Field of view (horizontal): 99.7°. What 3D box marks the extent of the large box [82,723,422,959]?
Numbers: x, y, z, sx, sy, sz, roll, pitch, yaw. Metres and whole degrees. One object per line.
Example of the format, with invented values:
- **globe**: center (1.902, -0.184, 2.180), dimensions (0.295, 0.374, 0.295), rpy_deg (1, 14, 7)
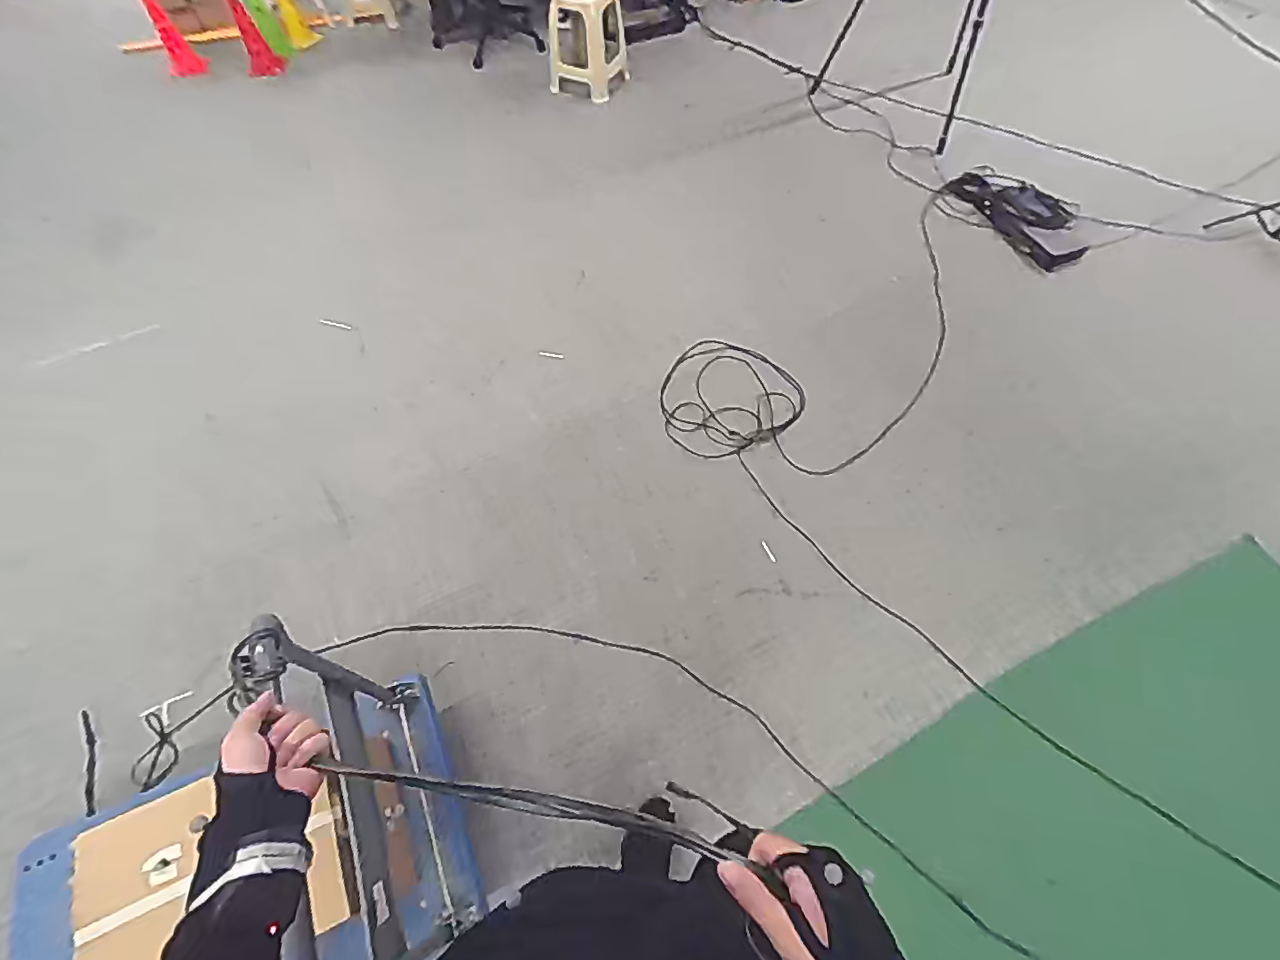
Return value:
- **large box**: center (-0.696, 0.712, 1.024), dimensions (0.408, 0.320, 0.320), rpy_deg (-23, 63, -11)
